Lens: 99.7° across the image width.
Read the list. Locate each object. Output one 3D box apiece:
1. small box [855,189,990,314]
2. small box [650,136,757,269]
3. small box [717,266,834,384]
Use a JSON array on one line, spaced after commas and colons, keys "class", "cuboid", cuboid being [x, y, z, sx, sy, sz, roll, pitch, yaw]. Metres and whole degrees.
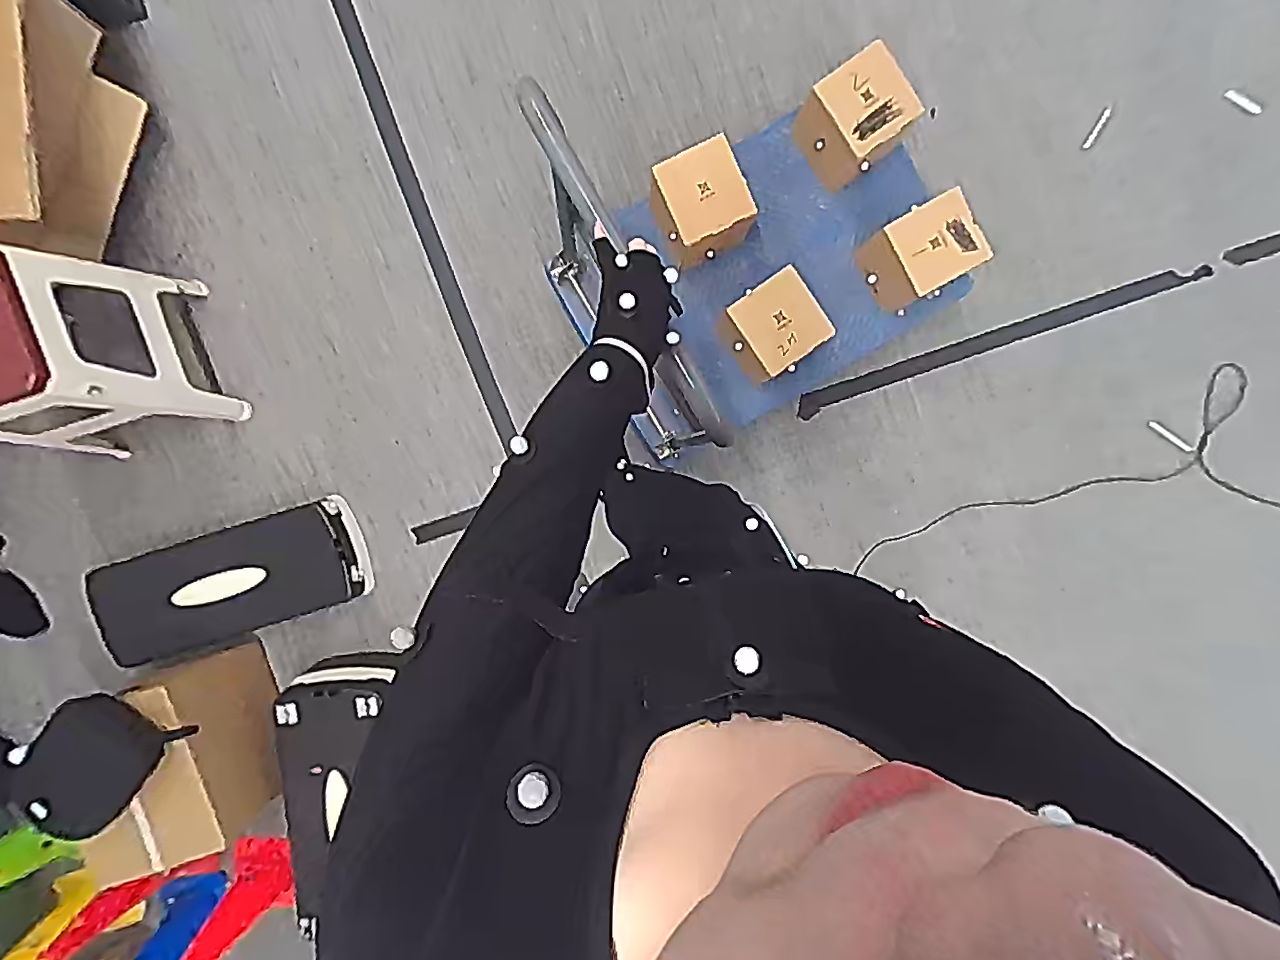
[{"class": "small box", "cuboid": [0.613, -0.495, 1.196, 0.179, 0.176, 0.168, -29, 94, 2]}, {"class": "small box", "cuboid": [0.130, -0.596, 1.183, 0.168, 0.176, 0.179, -26, 95, 1]}, {"class": "small box", "cuboid": [0.290, -0.333, 1.201, 0.168, 0.176, 0.179, -35, 93, 1]}]
